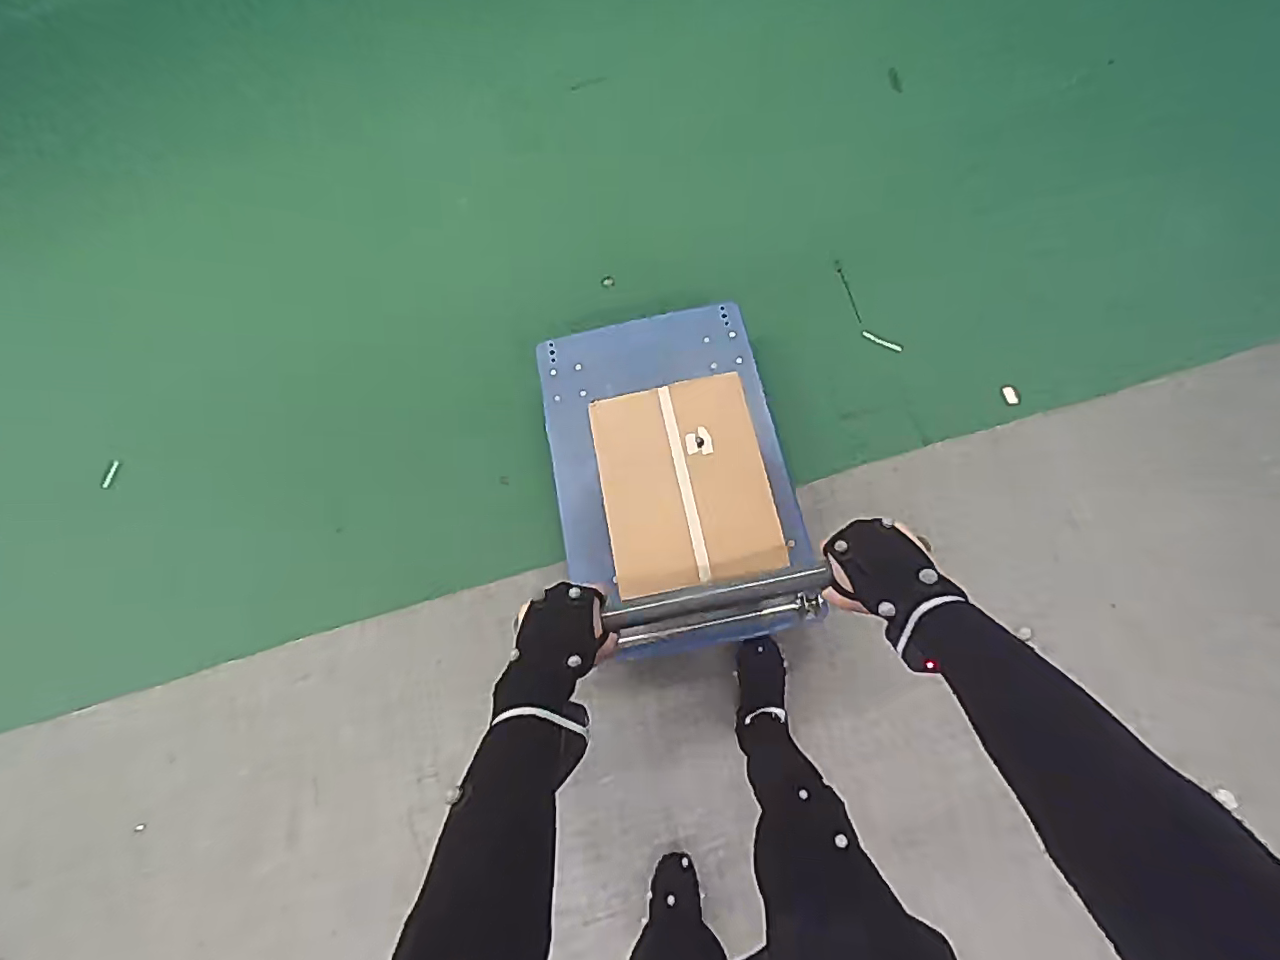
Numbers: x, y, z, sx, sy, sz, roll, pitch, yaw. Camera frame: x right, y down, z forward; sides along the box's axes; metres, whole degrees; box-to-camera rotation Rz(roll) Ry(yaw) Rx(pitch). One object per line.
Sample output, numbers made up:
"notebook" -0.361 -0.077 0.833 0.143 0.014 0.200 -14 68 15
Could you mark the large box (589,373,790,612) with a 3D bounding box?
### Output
"large box" 0.099 0.045 1.174 0.320 0.320 0.408 -12 71 1
